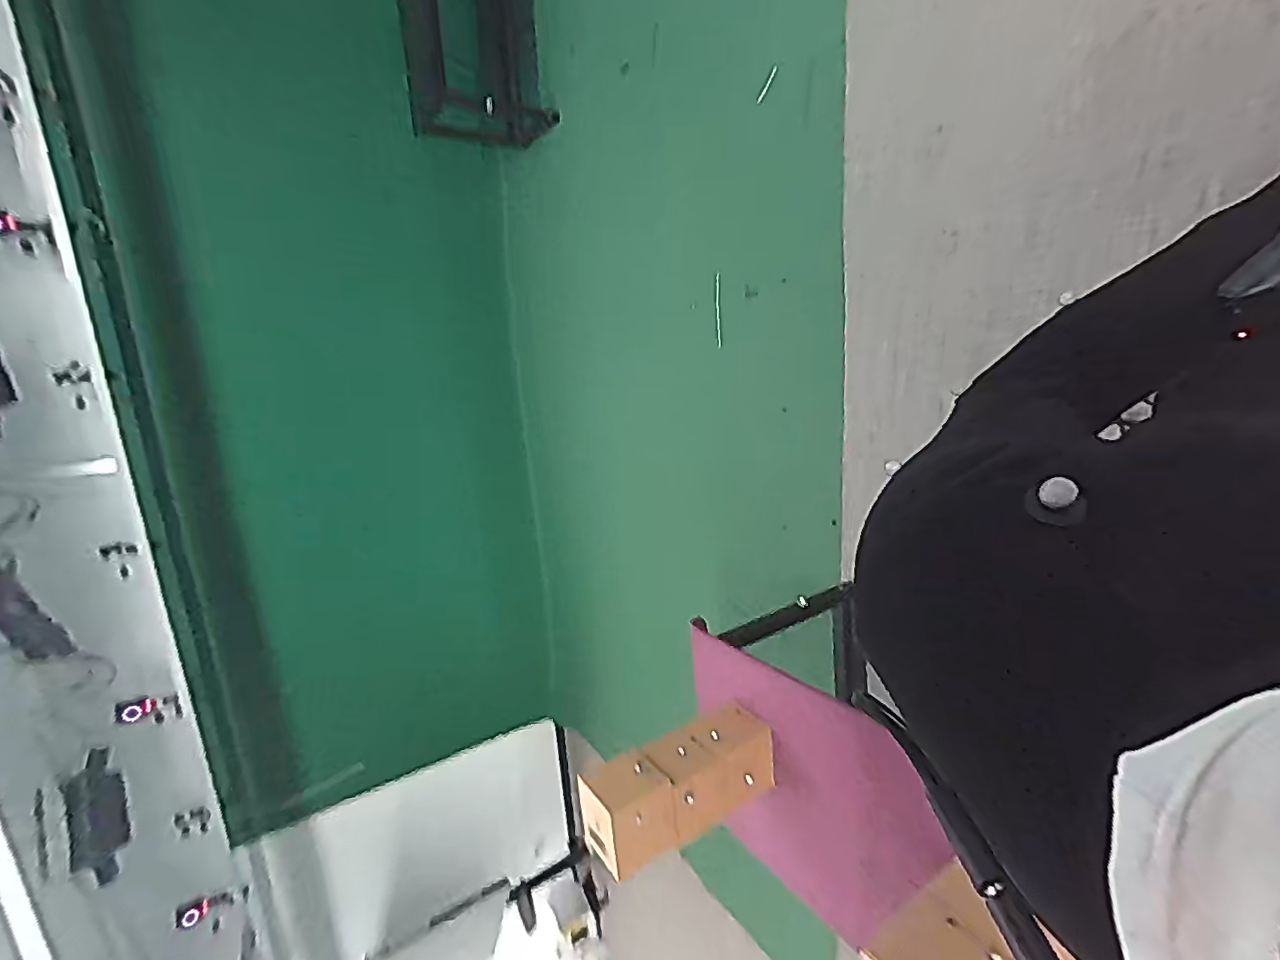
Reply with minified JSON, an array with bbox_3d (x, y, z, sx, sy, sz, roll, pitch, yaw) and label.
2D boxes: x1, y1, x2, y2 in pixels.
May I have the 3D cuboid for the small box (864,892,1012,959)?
[{"bbox_3d":[0.469,0.797,0.830,0.168,0.176,0.179,9,109,58],"label":"small box"}]

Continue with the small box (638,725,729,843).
[{"bbox_3d":[0.114,0.771,1.396,0.168,0.176,0.179,14,112,57],"label":"small box"}]

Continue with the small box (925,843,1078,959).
[{"bbox_3d":[0.608,0.770,0.914,0.168,0.176,0.179,8,107,57],"label":"small box"}]

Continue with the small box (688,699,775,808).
[{"bbox_3d":[0.252,0.740,1.481,0.168,0.176,0.179,10,110,56],"label":"small box"}]
